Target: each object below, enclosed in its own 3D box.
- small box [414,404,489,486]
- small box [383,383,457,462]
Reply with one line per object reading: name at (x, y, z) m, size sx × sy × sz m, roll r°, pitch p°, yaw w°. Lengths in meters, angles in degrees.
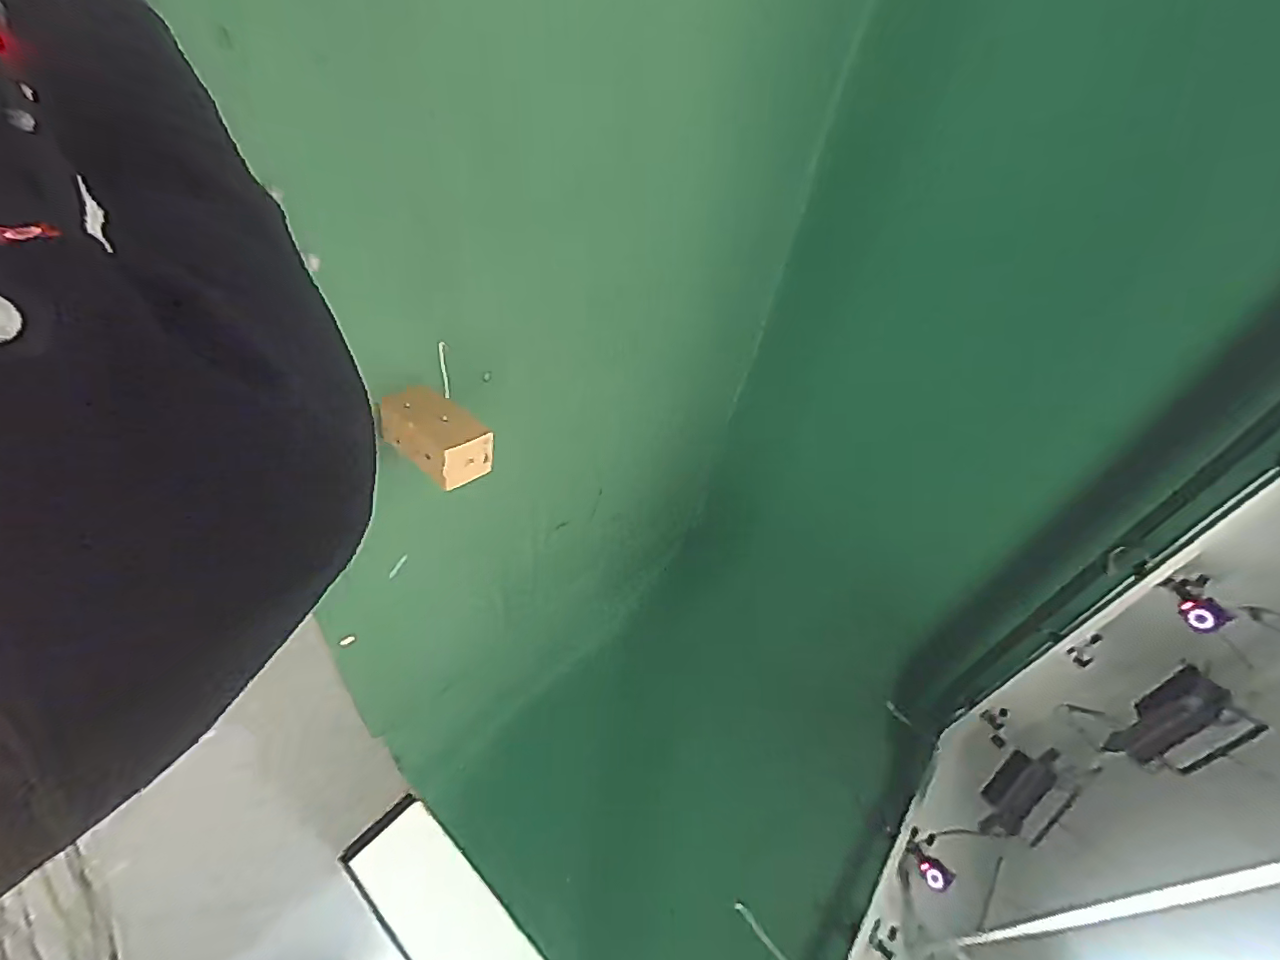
small box at (-0.604, -0.116, 1.718) m, size 0.179 × 0.176 × 0.168 m, roll -31°, pitch 148°, yaw -42°
small box at (-0.719, -0.192, 1.765) m, size 0.179 × 0.176 × 0.168 m, roll -32°, pitch 151°, yaw -43°
